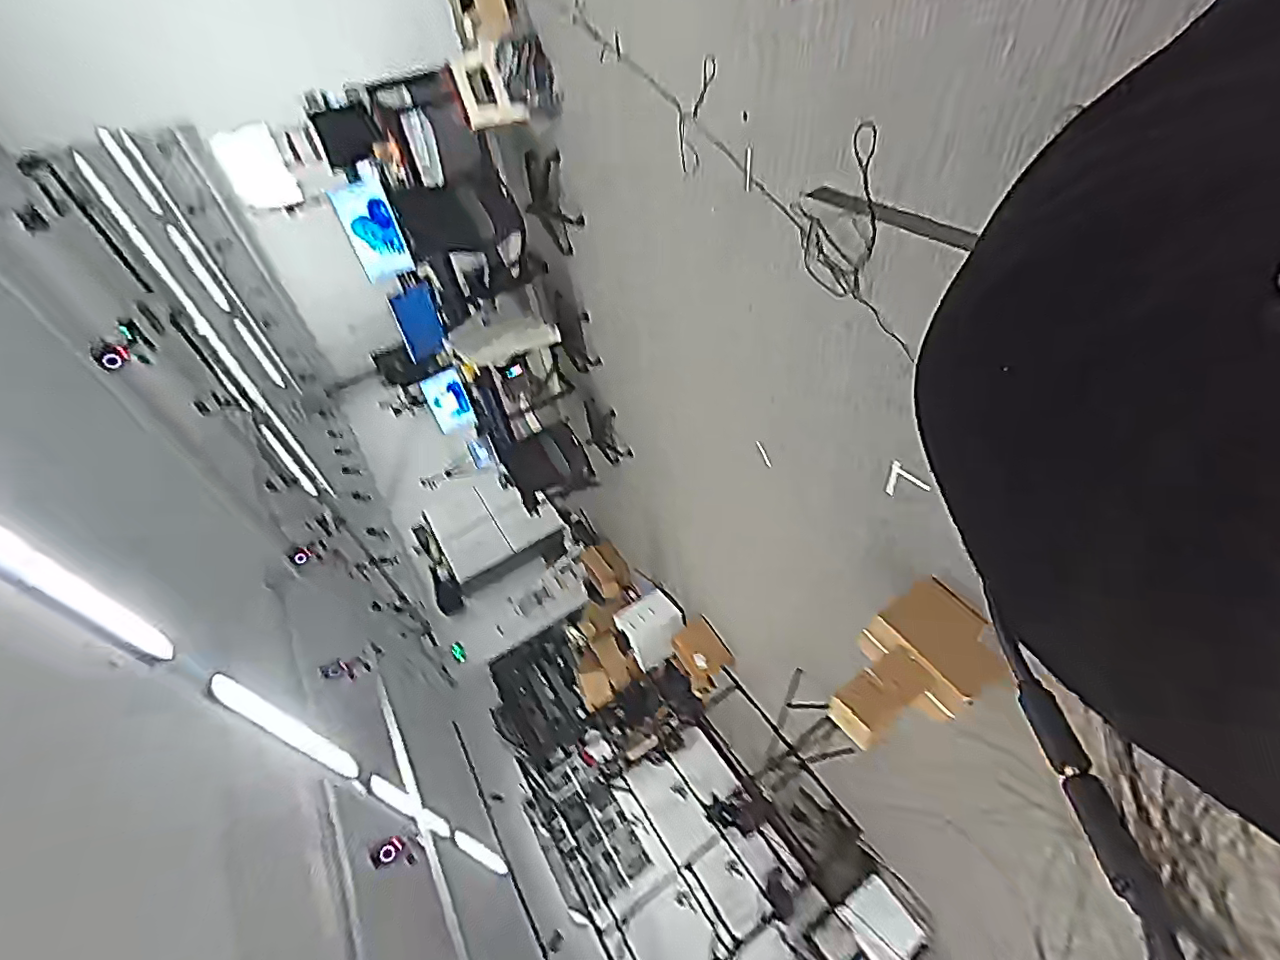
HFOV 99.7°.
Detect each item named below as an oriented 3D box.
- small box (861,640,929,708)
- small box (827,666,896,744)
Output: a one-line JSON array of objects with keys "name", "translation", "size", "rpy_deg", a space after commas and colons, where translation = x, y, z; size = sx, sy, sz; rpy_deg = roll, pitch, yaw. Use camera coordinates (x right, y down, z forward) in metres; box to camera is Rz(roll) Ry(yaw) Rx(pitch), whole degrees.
[{"name": "small box", "translation": [0.951, 0.739, 2.046], "size": [0.179, 0.176, 0.168], "rpy_deg": [51, 158, 30]}, {"name": "small box", "translation": [0.820, 0.827, 2.002], "size": [0.168, 0.176, 0.179], "rpy_deg": [43, 155, 45]}]
